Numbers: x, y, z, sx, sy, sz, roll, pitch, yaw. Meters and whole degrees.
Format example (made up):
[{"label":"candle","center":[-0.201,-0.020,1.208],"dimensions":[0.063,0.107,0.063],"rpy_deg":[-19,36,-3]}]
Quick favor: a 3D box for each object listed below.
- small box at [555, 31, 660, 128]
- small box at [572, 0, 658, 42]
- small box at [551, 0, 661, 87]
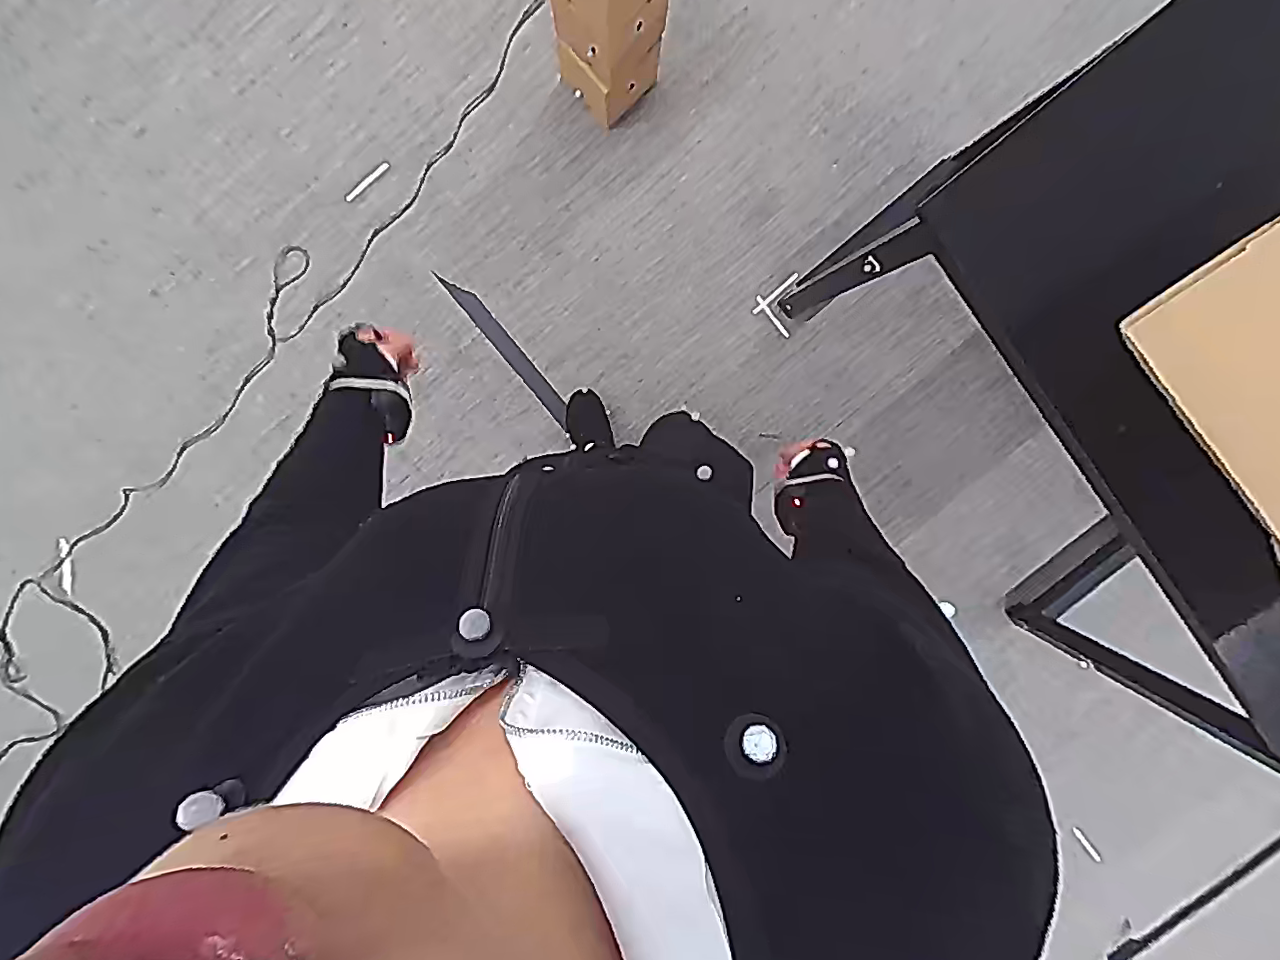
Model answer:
[{"label":"small box","center":[-0.076,-0.983,1.265],"dimensions":[0.179,0.176,0.168],"rpy_deg":[-43,98,5]},{"label":"small box","center":[-0.057,-0.935,0.943],"dimensions":[0.168,0.176,0.179],"rpy_deg":[-44,98,4]},{"label":"small box","center":[-0.066,-0.965,1.104],"dimensions":[0.168,0.176,0.179],"rpy_deg":[42,93,-10]}]
